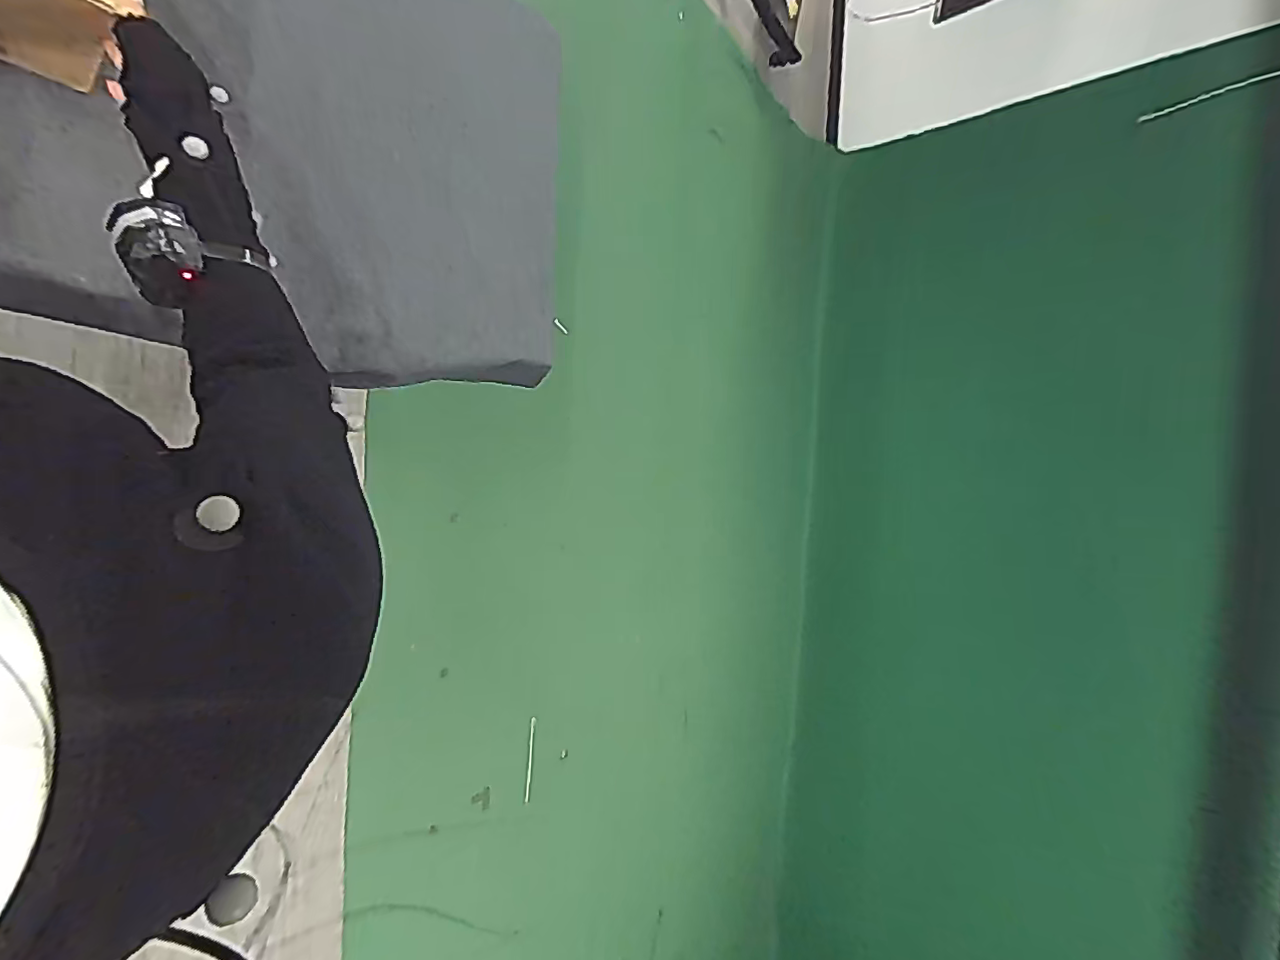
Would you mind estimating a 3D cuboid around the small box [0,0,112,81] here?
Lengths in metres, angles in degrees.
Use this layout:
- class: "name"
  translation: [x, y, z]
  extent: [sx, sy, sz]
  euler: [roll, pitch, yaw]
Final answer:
- class: "small box"
  translation: [-0.531, -0.463, 0.418]
  extent: [0.168, 0.176, 0.179]
  euler: [0, 94, -52]
